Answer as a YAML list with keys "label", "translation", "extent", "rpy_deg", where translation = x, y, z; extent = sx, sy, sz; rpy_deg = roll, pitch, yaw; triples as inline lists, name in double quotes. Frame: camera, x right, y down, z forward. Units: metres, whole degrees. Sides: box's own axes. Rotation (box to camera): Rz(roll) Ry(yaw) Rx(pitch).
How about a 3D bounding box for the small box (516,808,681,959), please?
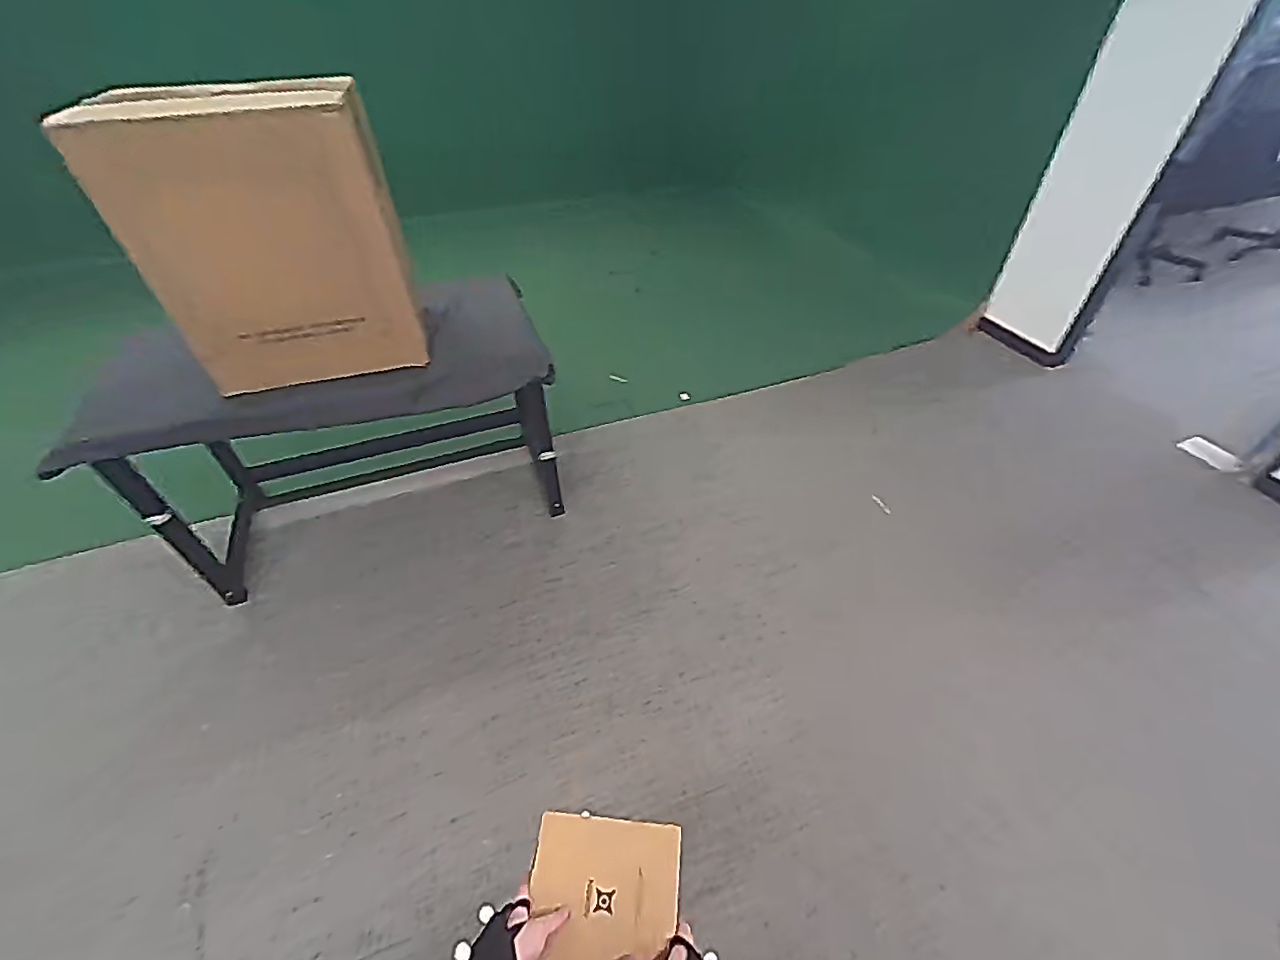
- label: "small box"
  translation: [-0.041, 0.530, 0.680]
  extent: [0.179, 0.176, 0.168]
  rpy_deg: [3, 50, 3]
